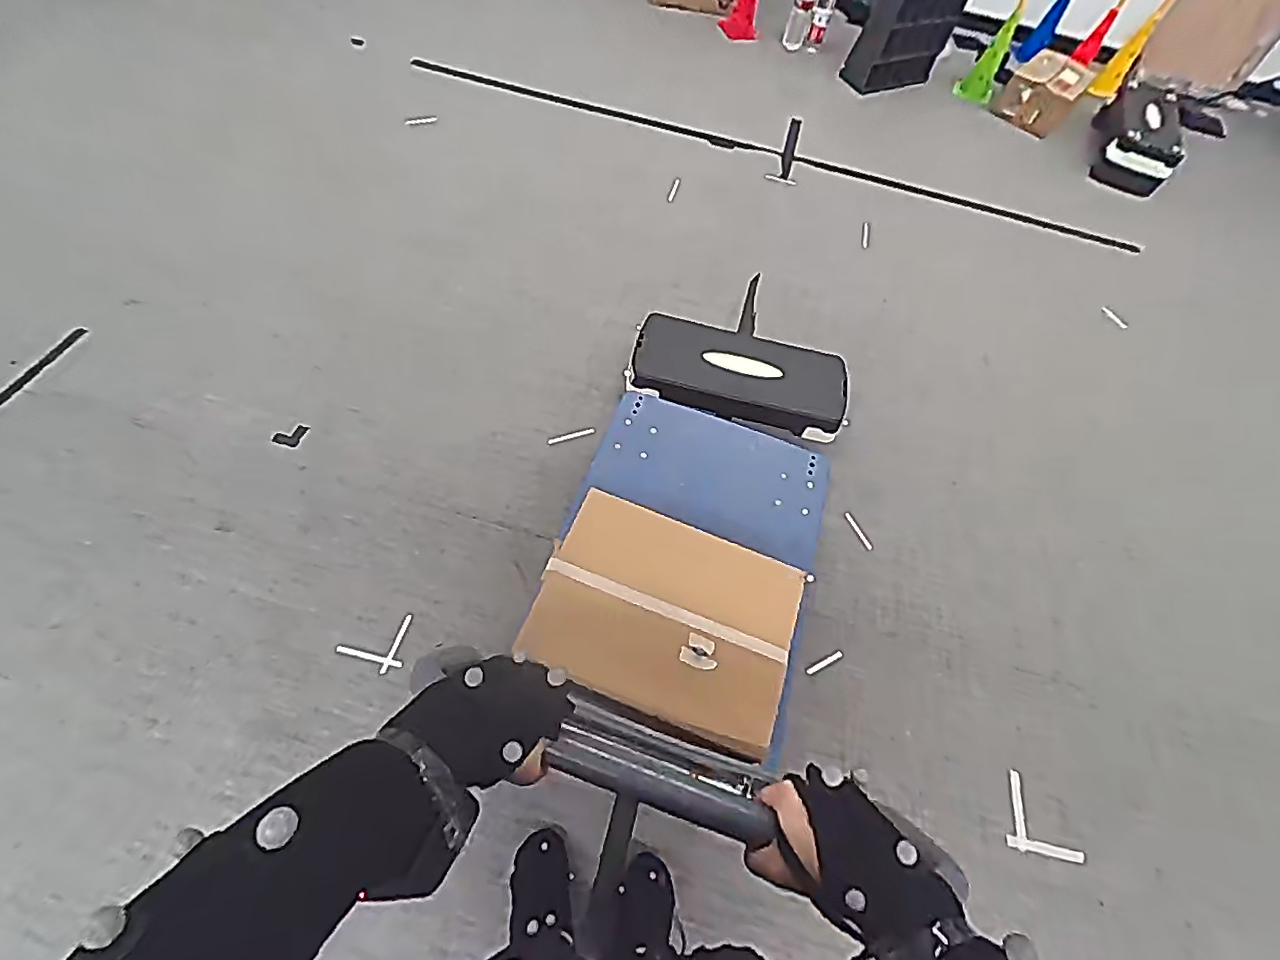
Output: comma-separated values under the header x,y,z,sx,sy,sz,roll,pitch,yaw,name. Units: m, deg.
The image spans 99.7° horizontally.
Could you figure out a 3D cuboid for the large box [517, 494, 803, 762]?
x,y,z,sx,sy,sz,roll,pitch,yaw,name
0.027,0.283,0.998,0.408,0.320,0.320,21,61,3,large box
